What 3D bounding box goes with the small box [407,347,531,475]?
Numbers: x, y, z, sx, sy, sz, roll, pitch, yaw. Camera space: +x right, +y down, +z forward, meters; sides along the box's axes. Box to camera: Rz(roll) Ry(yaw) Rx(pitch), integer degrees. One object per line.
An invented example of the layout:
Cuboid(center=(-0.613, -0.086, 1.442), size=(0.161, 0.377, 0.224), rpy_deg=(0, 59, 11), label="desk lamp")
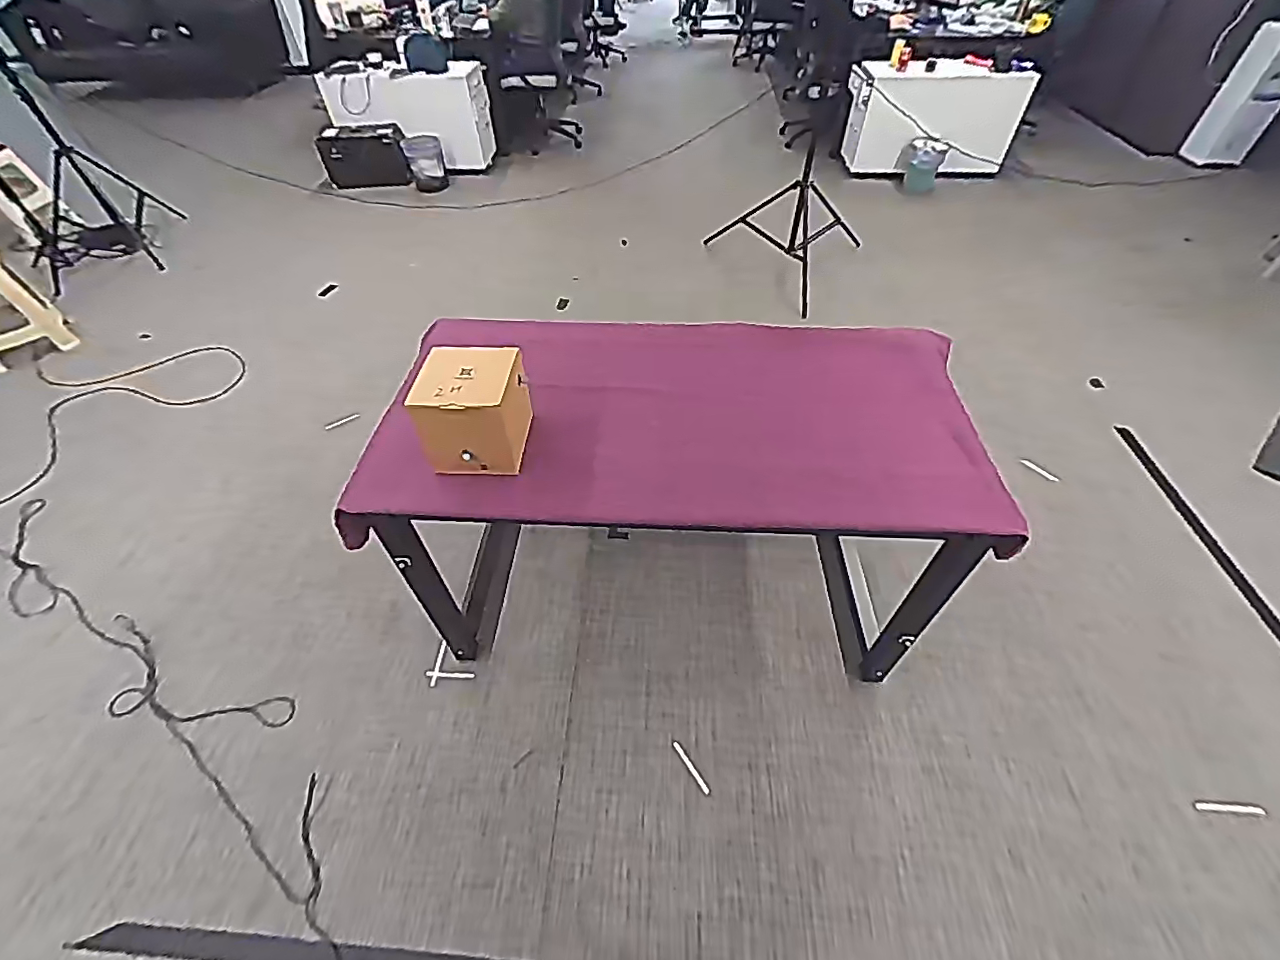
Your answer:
Cuboid(center=(-0.307, -0.131, 1.018), size=(0.168, 0.176, 0.179), rpy_deg=(0, 48, 2), label="small box")
